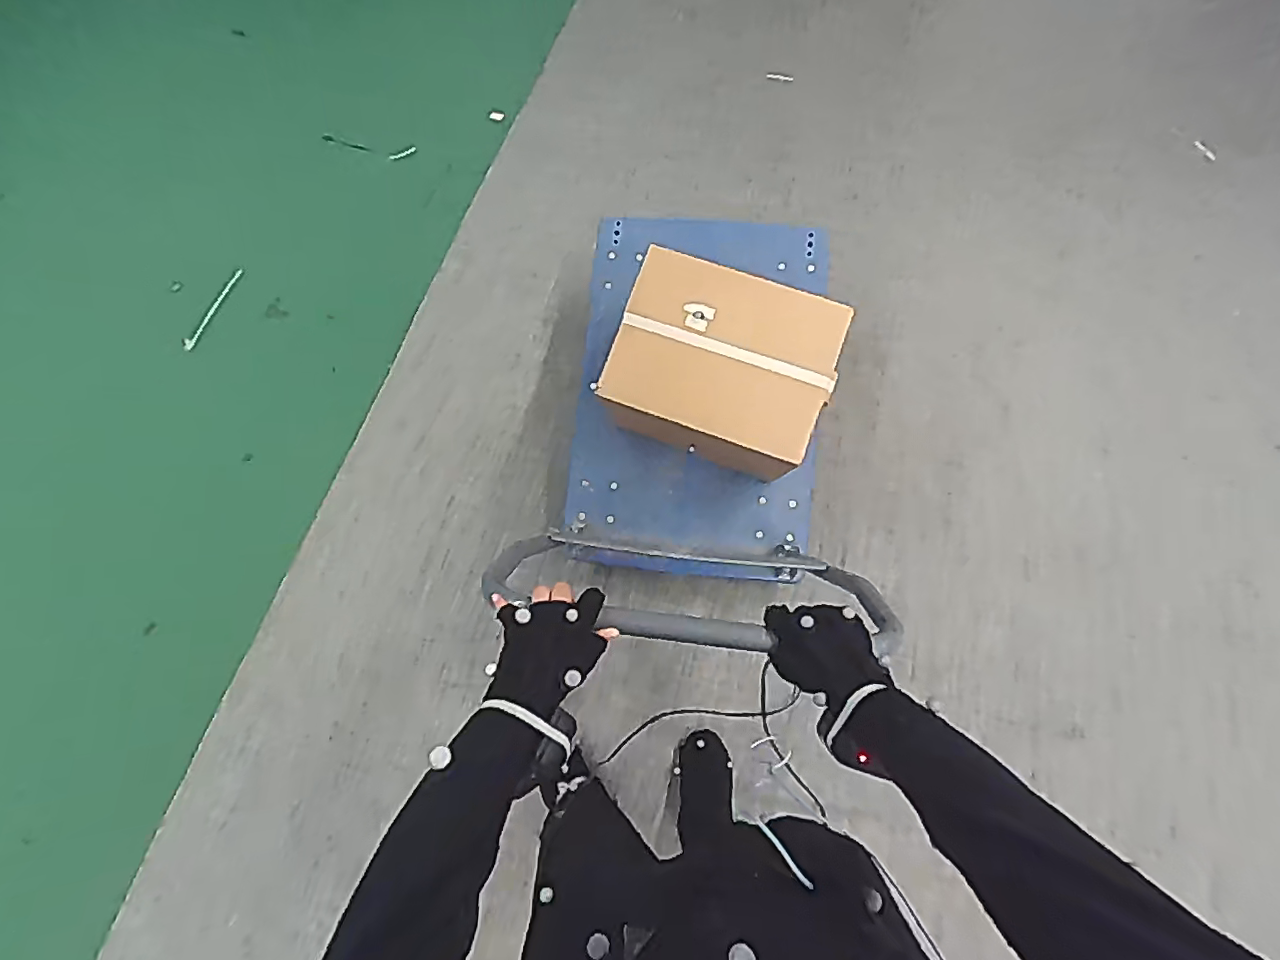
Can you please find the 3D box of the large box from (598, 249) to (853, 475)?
[{"bbox_3d":[0.171,-0.224,1.150,0.408,0.320,0.320,20,87,7],"label":"large box"}]
